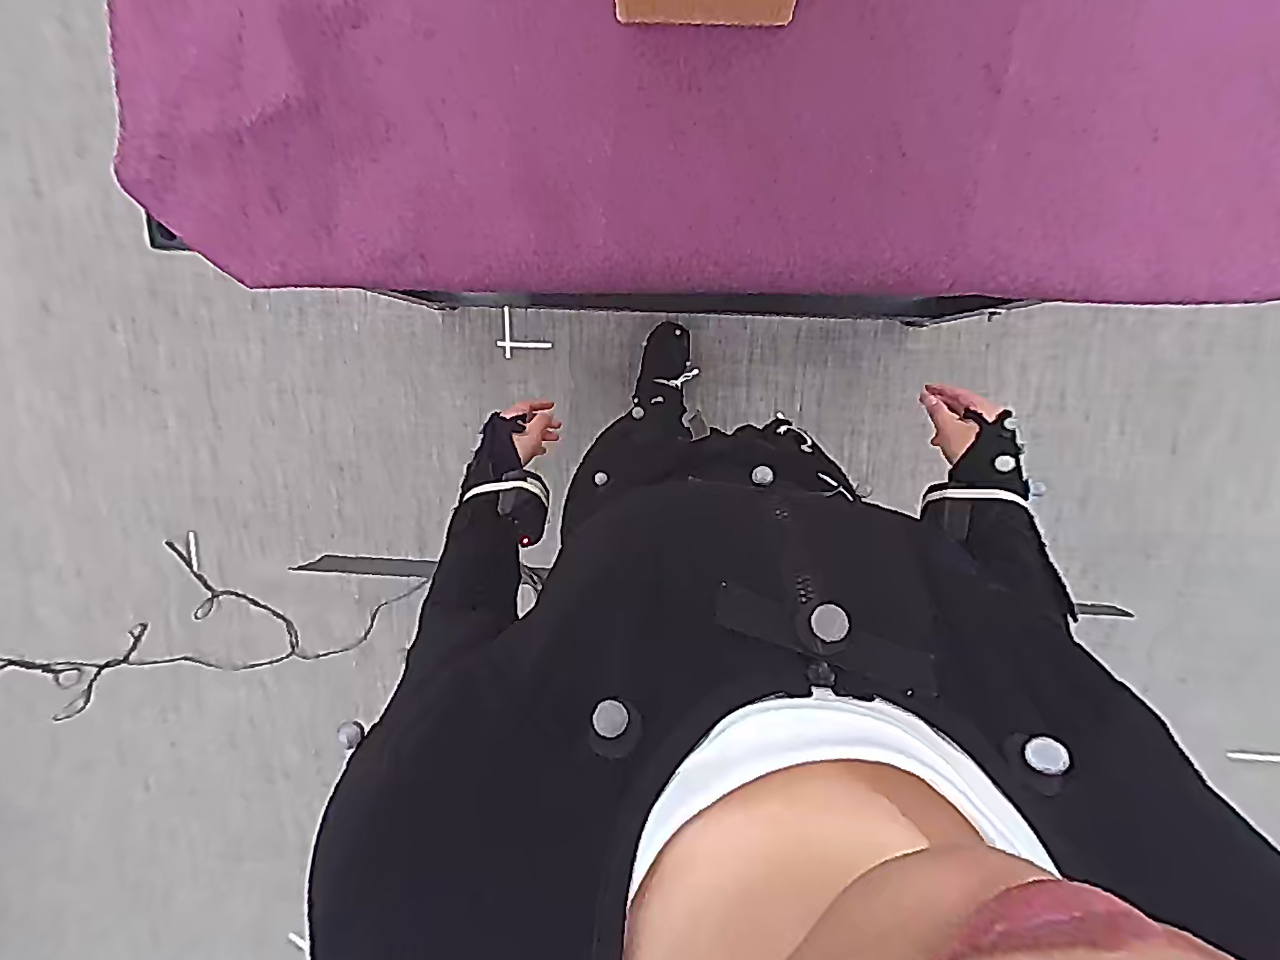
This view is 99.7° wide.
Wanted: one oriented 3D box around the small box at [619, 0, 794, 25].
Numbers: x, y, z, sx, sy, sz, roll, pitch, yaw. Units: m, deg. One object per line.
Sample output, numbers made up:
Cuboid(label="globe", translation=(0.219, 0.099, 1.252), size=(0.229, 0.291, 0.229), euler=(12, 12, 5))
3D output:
Cuboid(label="small box", translation=(0.064, -0.522, 0.449), size=(0.179, 0.176, 0.168), euler=(2, 101, 1))
